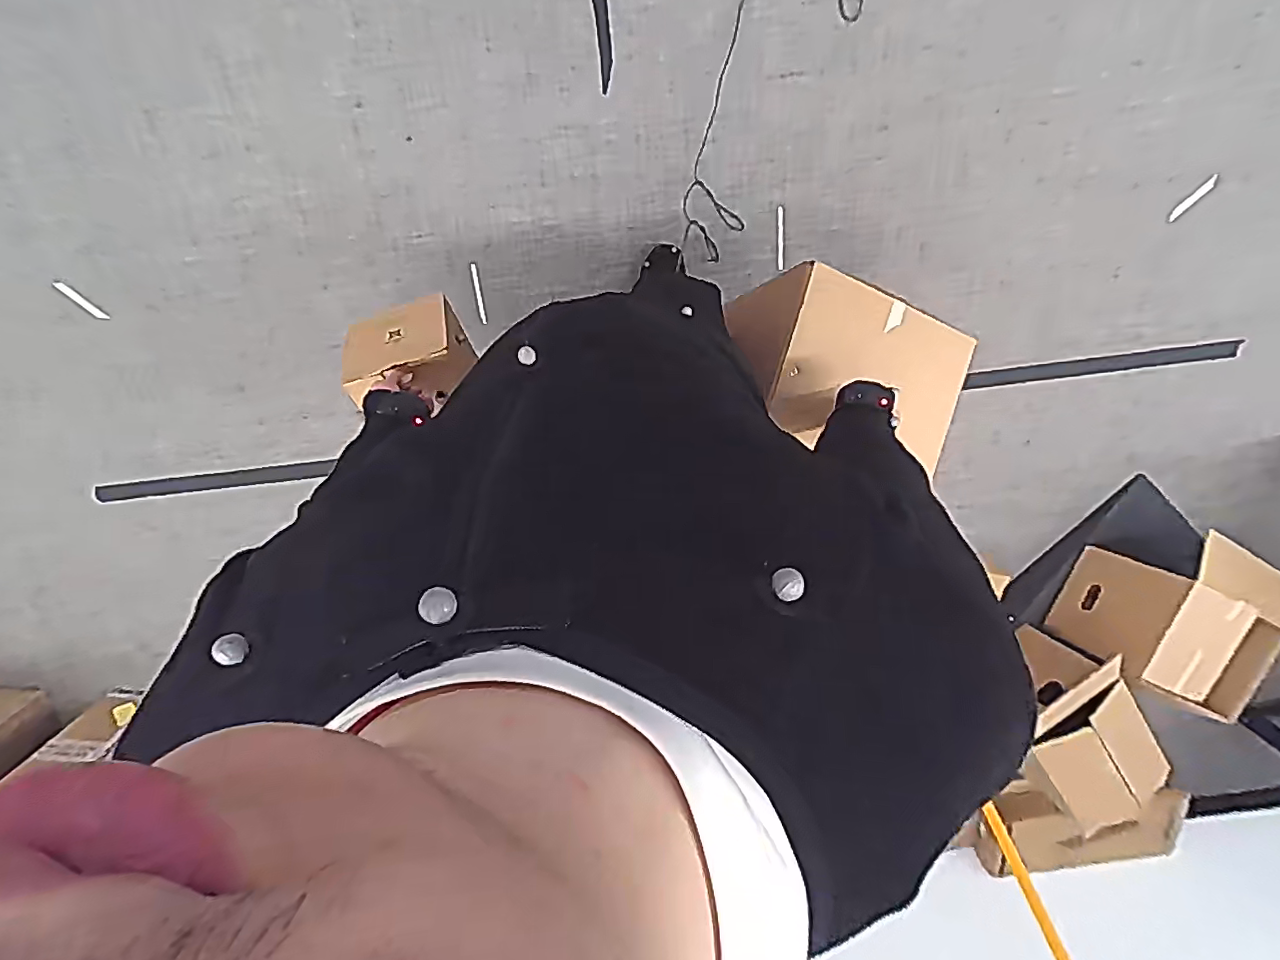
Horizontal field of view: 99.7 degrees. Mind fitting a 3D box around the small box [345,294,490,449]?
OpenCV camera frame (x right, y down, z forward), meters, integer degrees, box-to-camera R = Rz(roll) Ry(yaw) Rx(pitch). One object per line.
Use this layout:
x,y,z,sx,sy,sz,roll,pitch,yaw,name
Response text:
-0.365,-0.173,0.910,0.168,0.179,0.176,-19,141,-2,small box
